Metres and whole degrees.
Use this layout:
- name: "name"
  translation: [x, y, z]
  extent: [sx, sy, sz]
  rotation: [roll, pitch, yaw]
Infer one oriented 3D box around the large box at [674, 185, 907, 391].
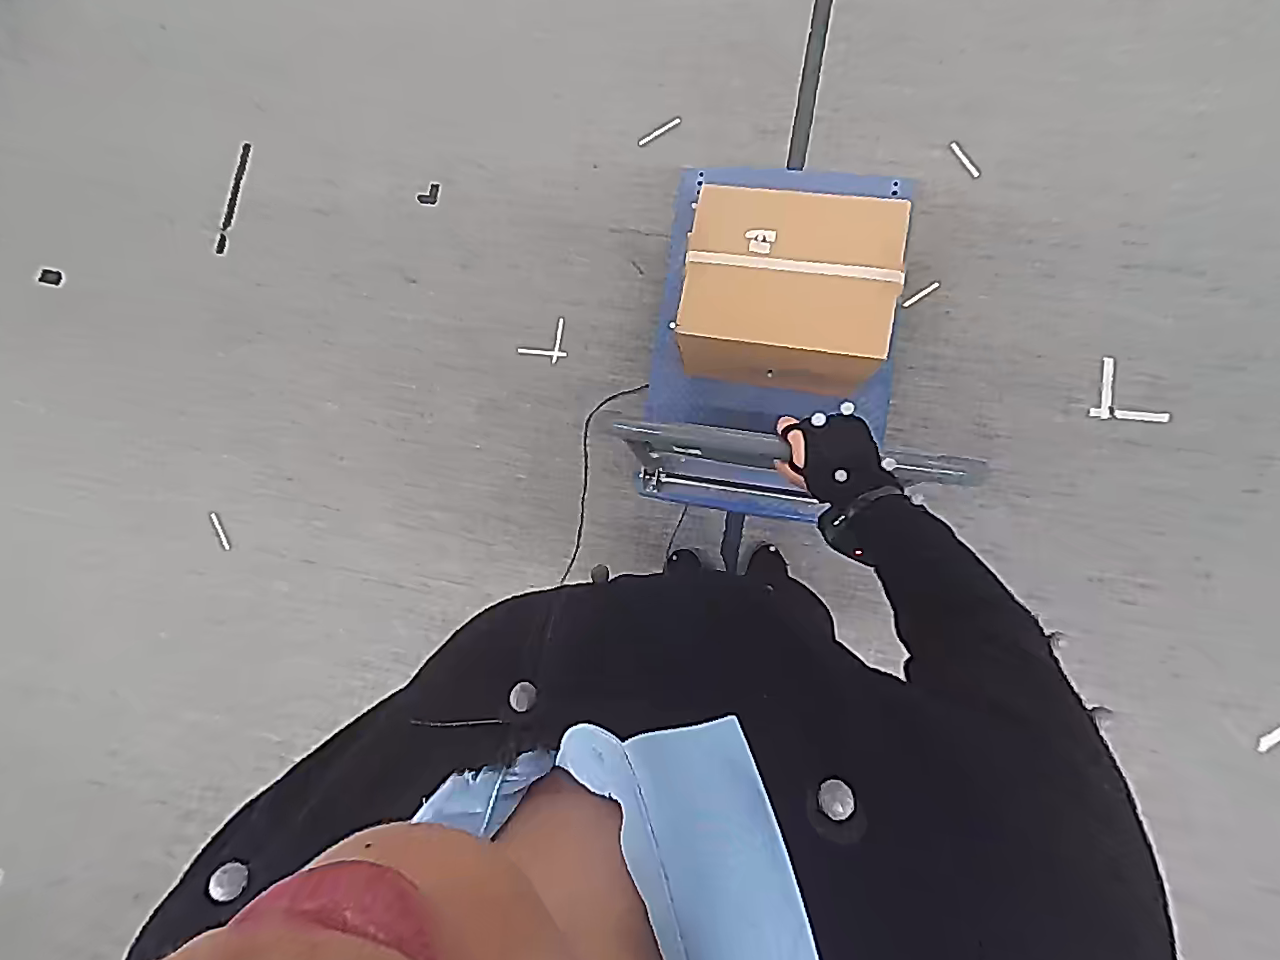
- name: "large box"
  translation: [0.311, -0.397, 1.178]
  extent: [0.408, 0.320, 0.320]
  rotation: [10, 86, 11]
